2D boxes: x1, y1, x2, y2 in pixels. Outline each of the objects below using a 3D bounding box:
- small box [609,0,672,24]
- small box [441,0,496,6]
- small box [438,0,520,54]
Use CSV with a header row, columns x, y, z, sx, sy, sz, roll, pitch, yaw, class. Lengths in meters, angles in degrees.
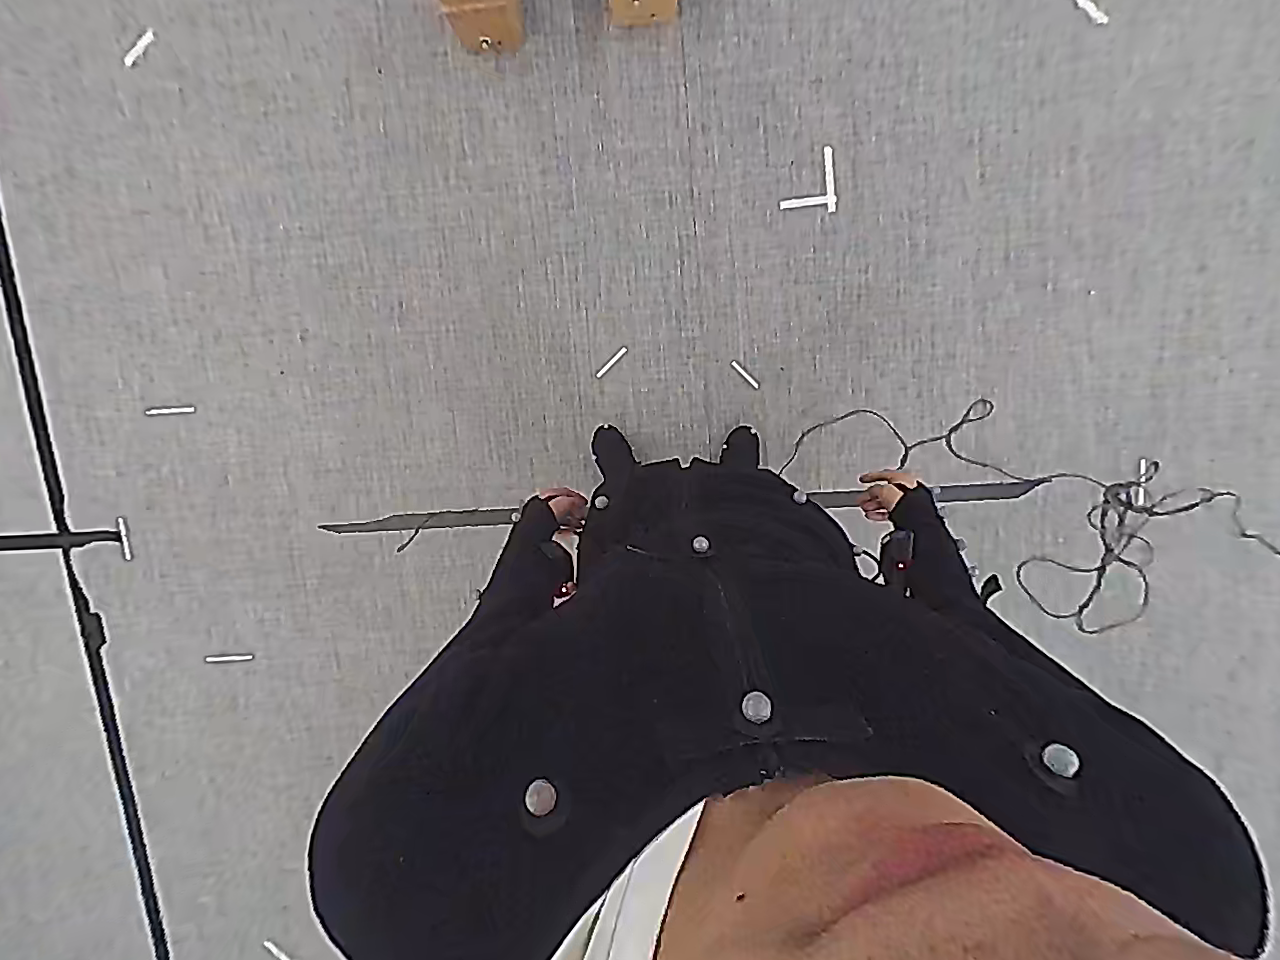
x,y,z,sx,sy,sz,roll,pitch,yaw,class
-0.004,-1.318,1.389,0.168,0.176,0.179,-5,96,2,small box
-0.426,-1.252,1.242,0.168,0.176,0.179,-4,97,4,small box
-0.420,-1.264,1.406,0.168,0.176,0.179,-4,97,3,small box
